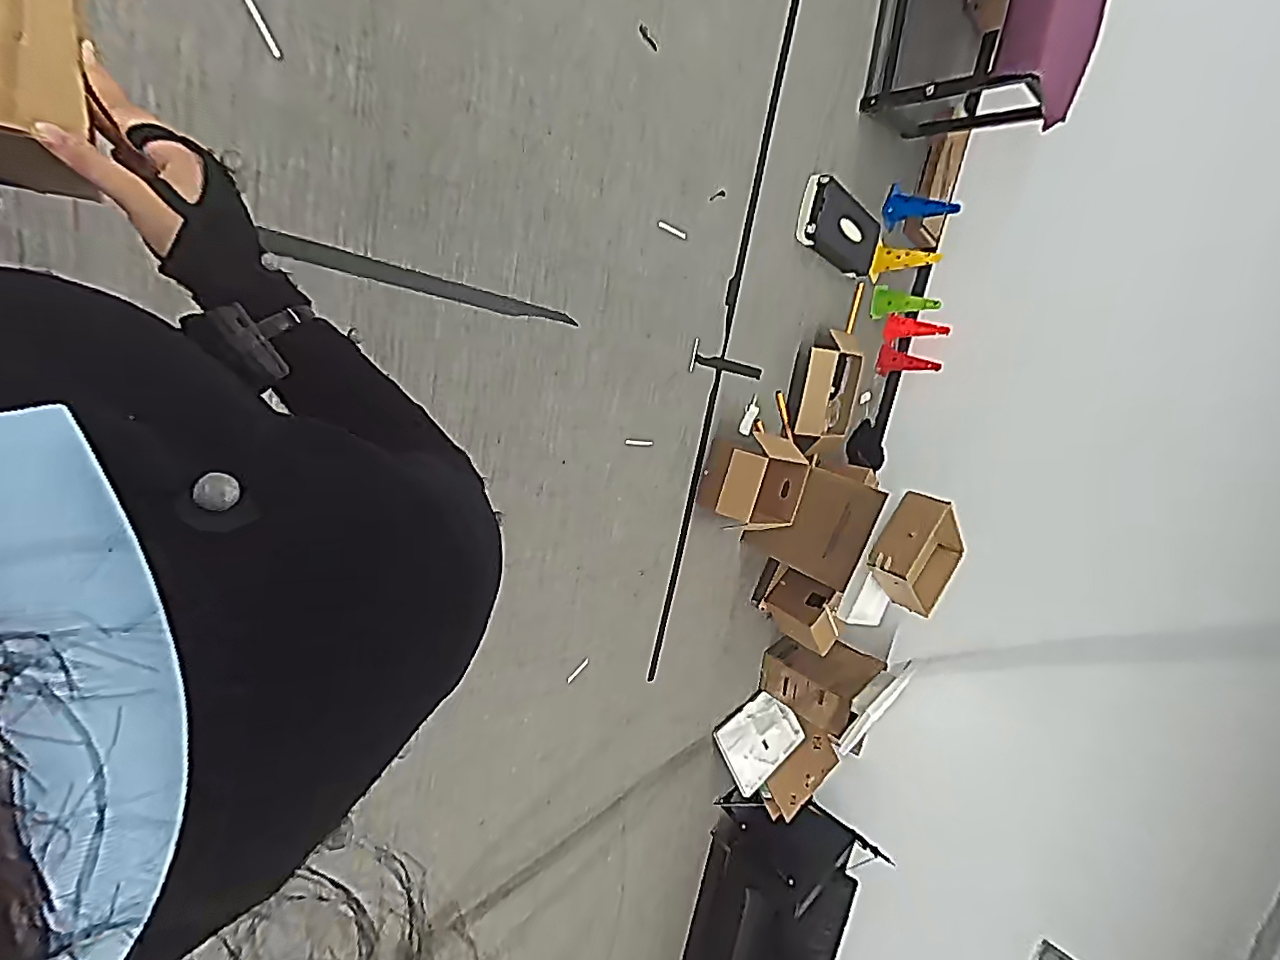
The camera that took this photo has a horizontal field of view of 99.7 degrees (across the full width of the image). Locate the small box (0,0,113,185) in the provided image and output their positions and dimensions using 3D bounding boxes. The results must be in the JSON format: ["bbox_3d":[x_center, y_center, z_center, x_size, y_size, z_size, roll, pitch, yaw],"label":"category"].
[{"bbox_3d":[-0.459,-0.318,0.344,0.168,0.176,0.179,-7,105,-42],"label":"small box"}]

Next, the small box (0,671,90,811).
[{"bbox_3d":[-1.209,0.513,1.071,0.168,0.176,0.179,-3,108,-46],"label":"small box"}]
